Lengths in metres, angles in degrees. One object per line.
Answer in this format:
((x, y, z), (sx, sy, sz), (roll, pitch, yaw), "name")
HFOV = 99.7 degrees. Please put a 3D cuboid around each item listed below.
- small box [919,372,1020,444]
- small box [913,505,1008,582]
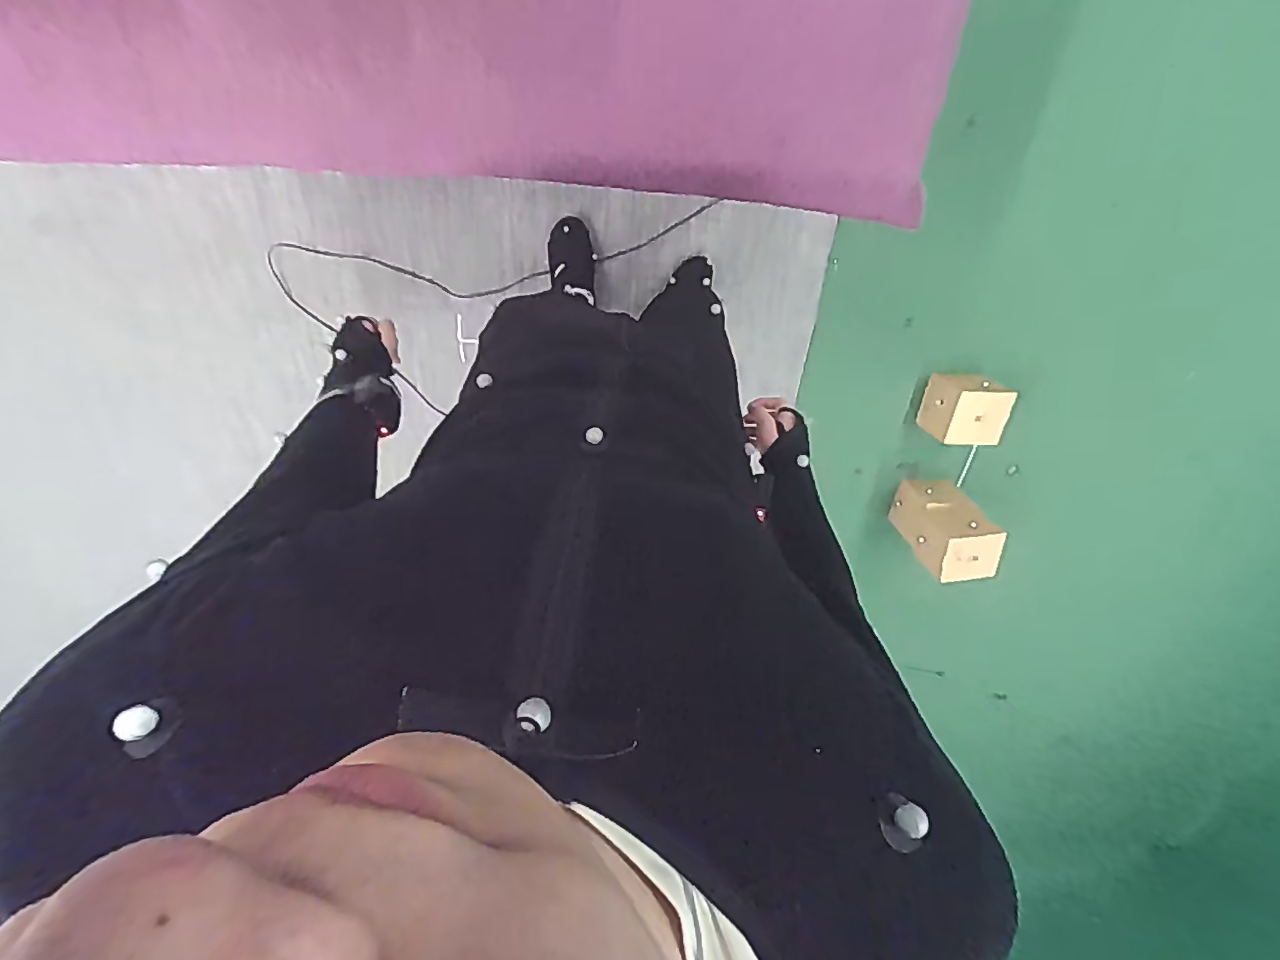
((0.979, -0.220, 1.629), (0.179, 0.176, 0.168), (0, 119, -6), "small box")
((0.982, 0.190, 1.671), (0.179, 0.176, 0.168), (-6, 119, -1), "small box")
